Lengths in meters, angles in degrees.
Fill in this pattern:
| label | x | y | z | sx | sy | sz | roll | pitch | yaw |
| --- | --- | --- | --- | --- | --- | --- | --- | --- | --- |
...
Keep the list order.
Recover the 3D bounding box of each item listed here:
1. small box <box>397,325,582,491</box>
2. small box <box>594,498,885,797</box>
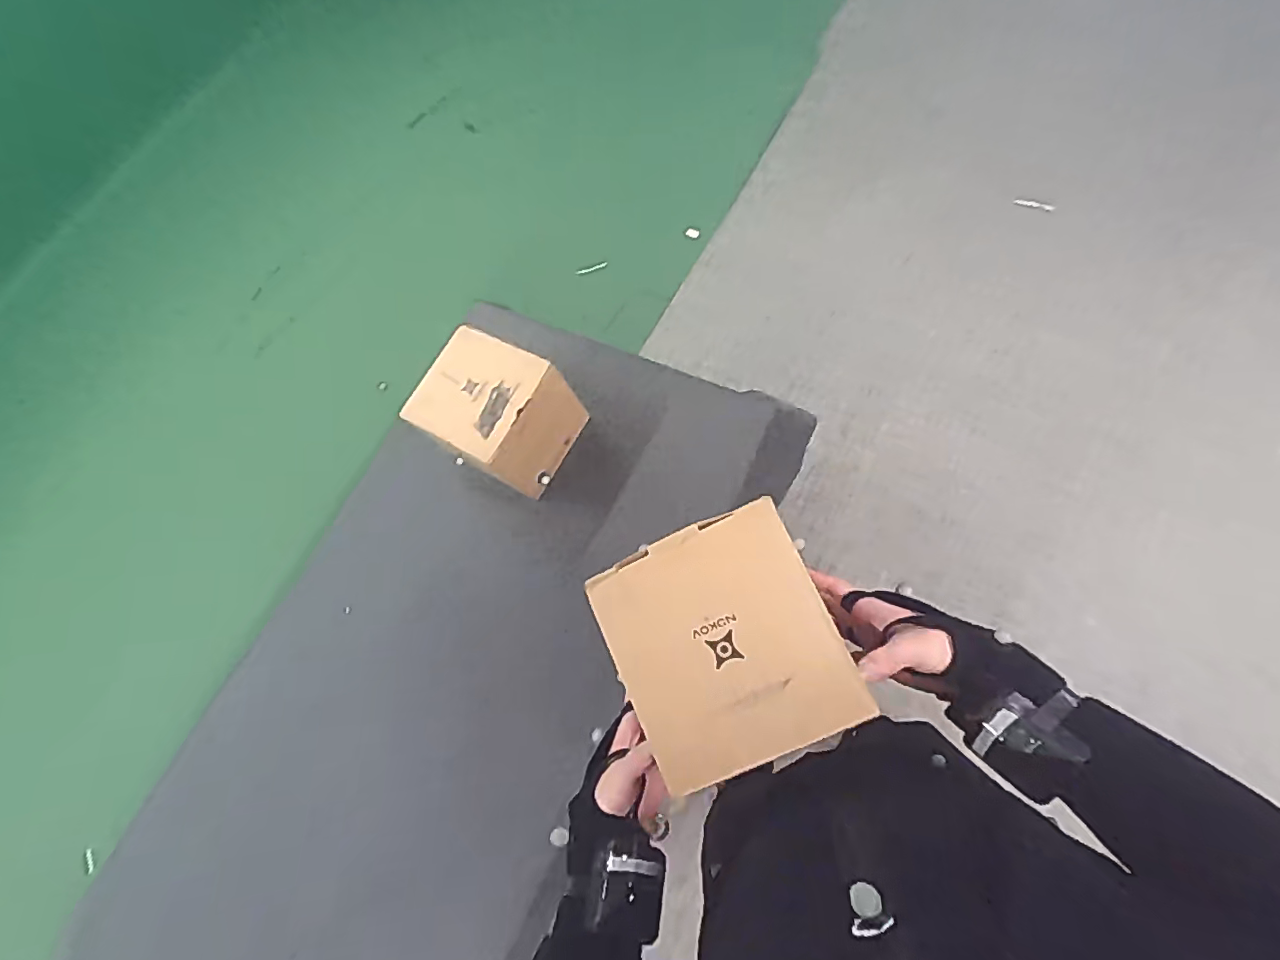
| label | x | y | z | sx | sy | sz | roll | pitch | yaw |
| --- | --- | --- | --- | --- | --- | --- | --- | --- | --- |
| small box | -0.215 | -0.099 | 0.823 | 0.179 | 0.176 | 0.168 | 26 | 79 | 20 |
| small box | 0.081 | 0.135 | 0.482 | 0.168 | 0.176 | 0.179 | -26 | 78 | 7 |
